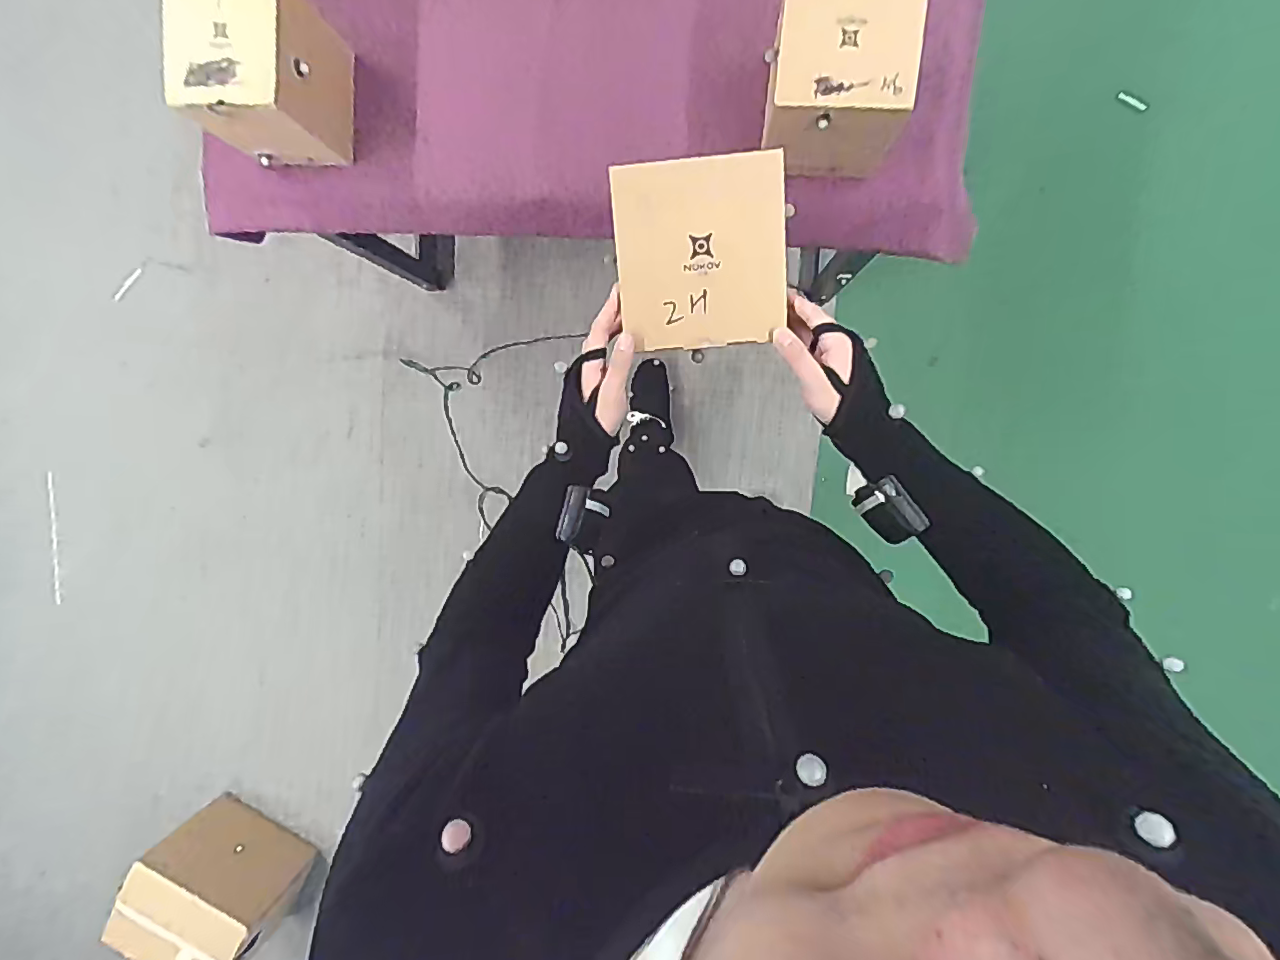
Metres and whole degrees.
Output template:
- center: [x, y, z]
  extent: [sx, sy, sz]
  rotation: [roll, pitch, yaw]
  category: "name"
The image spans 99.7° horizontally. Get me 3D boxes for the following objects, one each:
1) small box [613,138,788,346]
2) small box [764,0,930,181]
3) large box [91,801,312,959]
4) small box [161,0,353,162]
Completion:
- center: [0.062, -0.243, 0.596]
  extent: [0.168, 0.176, 0.179]
  rotation: [-3, 103, 4]
  category: "small box"
- center: [0.262, -0.533, 0.720]
  extent: [0.168, 0.176, 0.179]
  rotation: [6, 94, 6]
  category: "small box"
- center: [-1.373, 1.331, 1.724]
  extent: [0.408, 0.320, 0.320]
  rotation: [28, 98, 1]
  category: "large box"
- center: [-0.549, -0.596, 0.795]
  extent: [0.168, 0.176, 0.179]
  rotation: [5, 95, 5]
  category: "small box"
